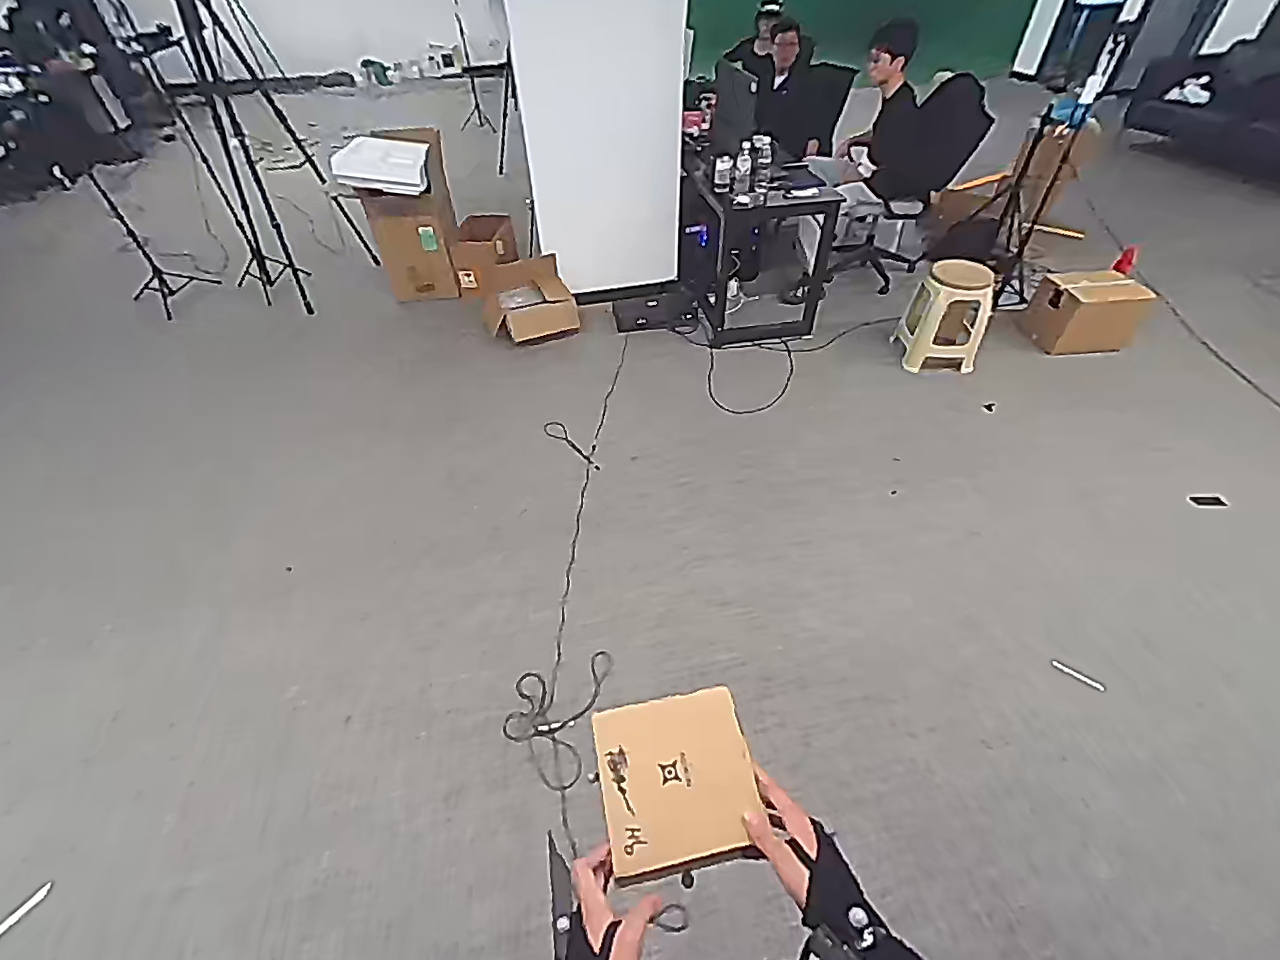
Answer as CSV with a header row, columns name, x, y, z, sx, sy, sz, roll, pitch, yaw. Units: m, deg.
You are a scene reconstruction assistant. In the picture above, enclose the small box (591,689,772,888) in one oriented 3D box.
name,x,y,z,sx,sy,sz,roll,pitch,yaw
small box,0.037,0.381,0.667,0.179,0.176,0.168,-8,51,-10
